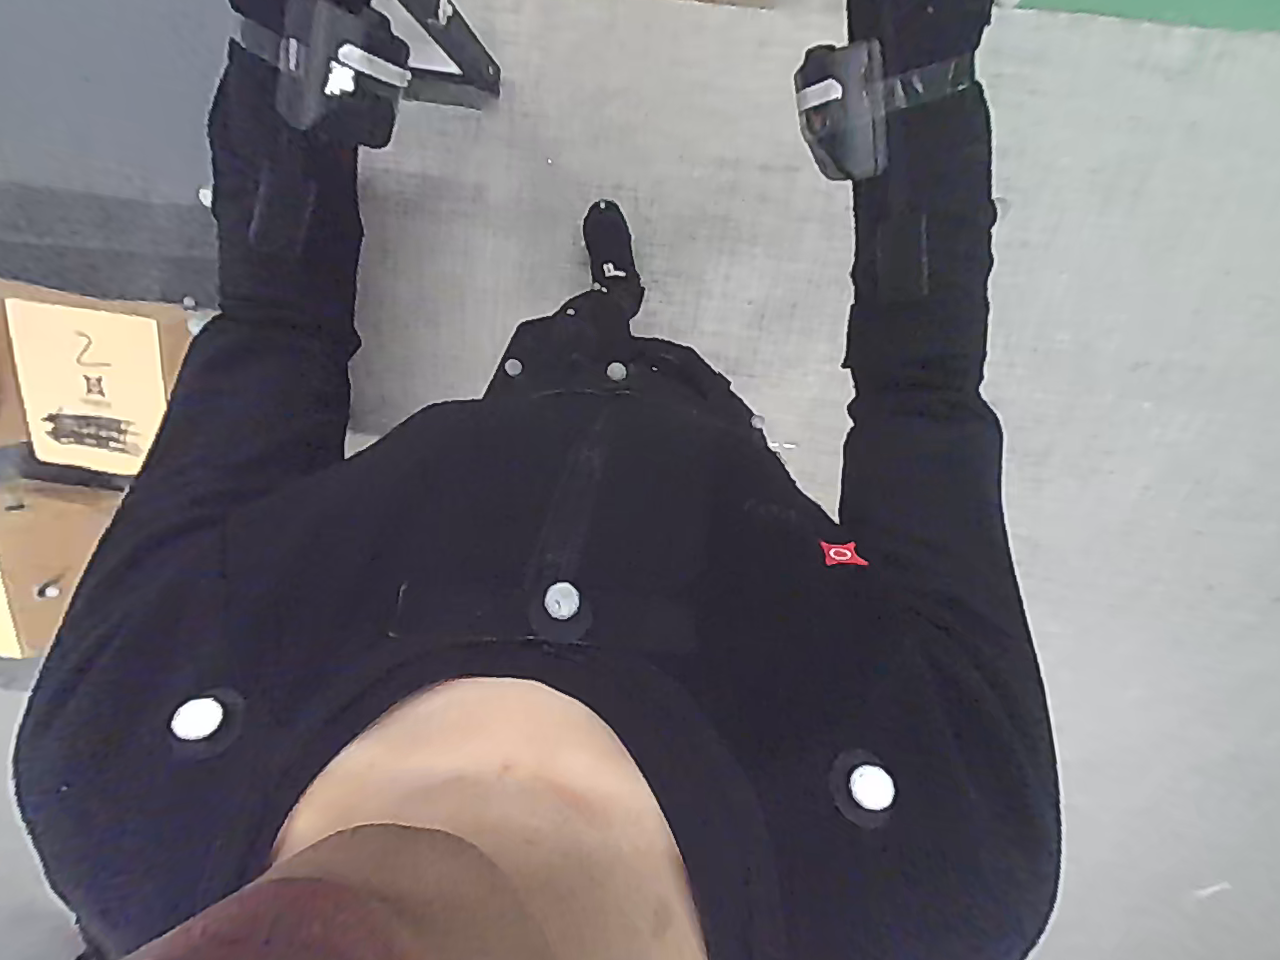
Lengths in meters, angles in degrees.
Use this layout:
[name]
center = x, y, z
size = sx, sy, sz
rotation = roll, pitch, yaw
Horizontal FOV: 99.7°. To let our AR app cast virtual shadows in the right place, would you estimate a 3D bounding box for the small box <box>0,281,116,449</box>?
[small box]
center = -0.793, -0.149, 0.656
size = 0.179, 0.176, 0.168
rotation = 13, 107, 1
